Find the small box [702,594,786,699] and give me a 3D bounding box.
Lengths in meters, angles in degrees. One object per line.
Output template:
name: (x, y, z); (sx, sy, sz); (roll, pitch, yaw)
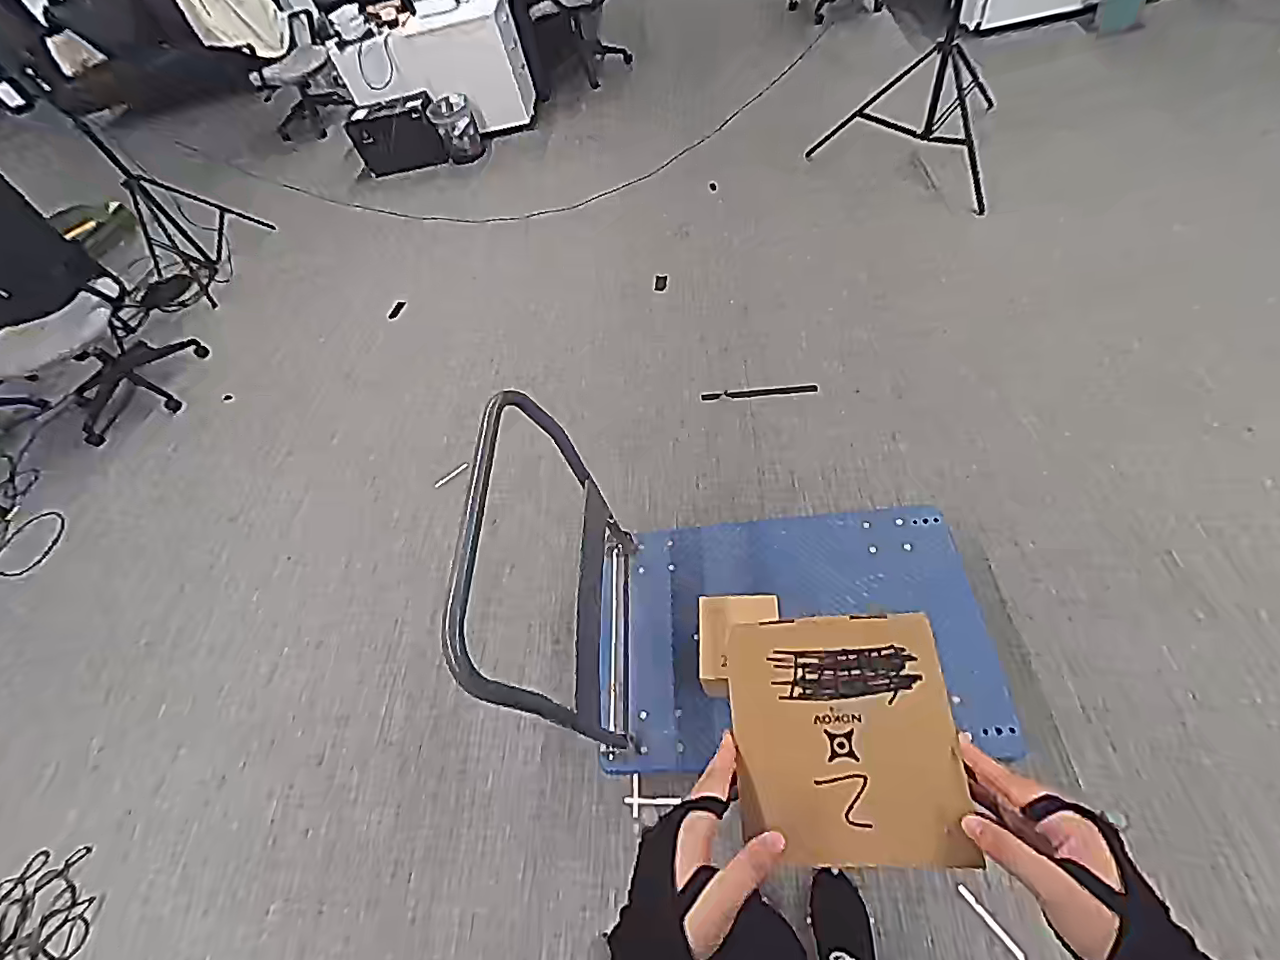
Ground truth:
small box: (0.224, 0.362, 1.171); (0.168, 0.176, 0.179); (-3, 56, 11)
